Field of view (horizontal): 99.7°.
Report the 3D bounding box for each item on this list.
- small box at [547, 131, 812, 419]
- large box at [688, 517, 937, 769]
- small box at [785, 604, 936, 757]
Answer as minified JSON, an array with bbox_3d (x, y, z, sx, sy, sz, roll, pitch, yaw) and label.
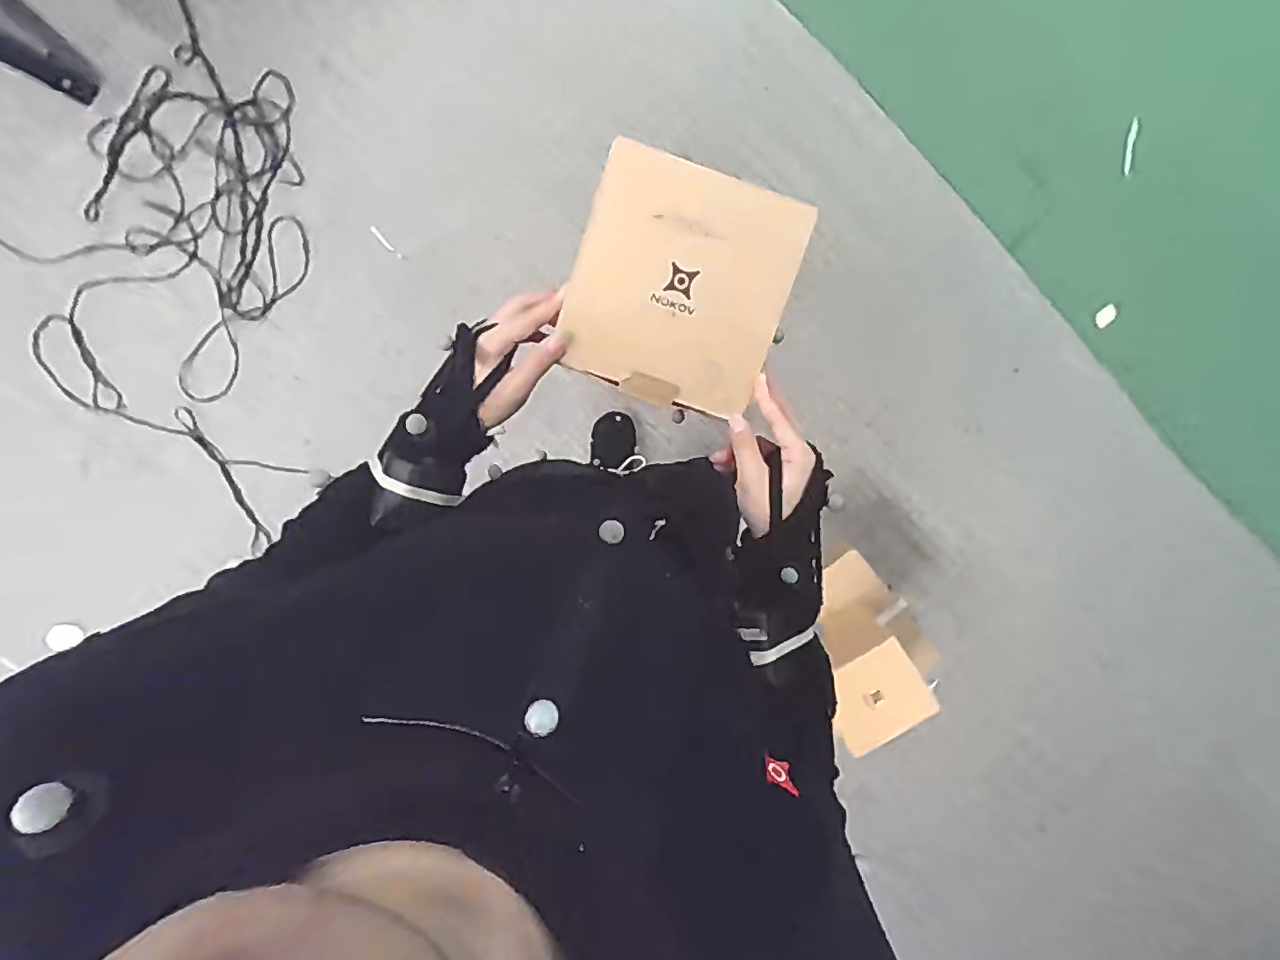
[{"bbox_3d":[0.029,-0.166,0.495,0.168,0.176,0.179,17,99,-3],"label":"small box"},{"bbox_3d":[0.366,0.351,1.254,0.408,0.320,0.320,-40,96,7],"label":"large box"},{"bbox_3d":[0.399,0.361,1.009,0.179,0.176,0.168,-34,98,6],"label":"small box"}]
